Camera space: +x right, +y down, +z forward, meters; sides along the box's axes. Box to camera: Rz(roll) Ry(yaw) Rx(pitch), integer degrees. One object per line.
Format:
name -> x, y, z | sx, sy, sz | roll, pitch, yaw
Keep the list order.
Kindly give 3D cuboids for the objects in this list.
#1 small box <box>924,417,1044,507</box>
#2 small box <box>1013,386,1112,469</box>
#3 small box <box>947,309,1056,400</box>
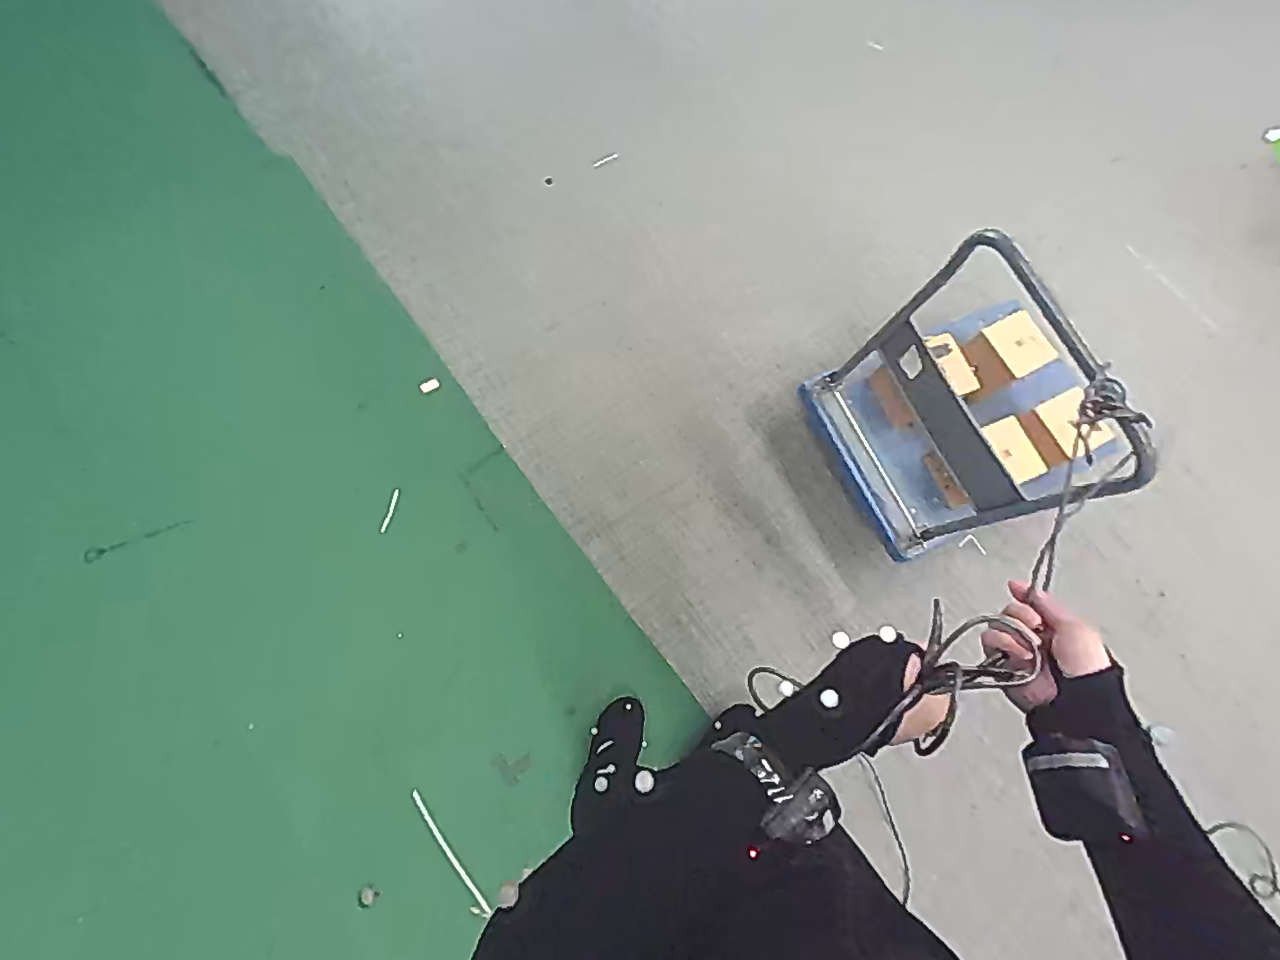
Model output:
small box -> 0.915, -0.045, 1.454 | 0.179, 0.176, 0.168 | -21, 77, -14
small box -> 1.140, -0.131, 1.513 | 0.179, 0.176, 0.168 | -24, 77, -14
small box -> 1.031, -0.356, 1.566 | 0.179, 0.176, 0.168 | -26, 79, -16
